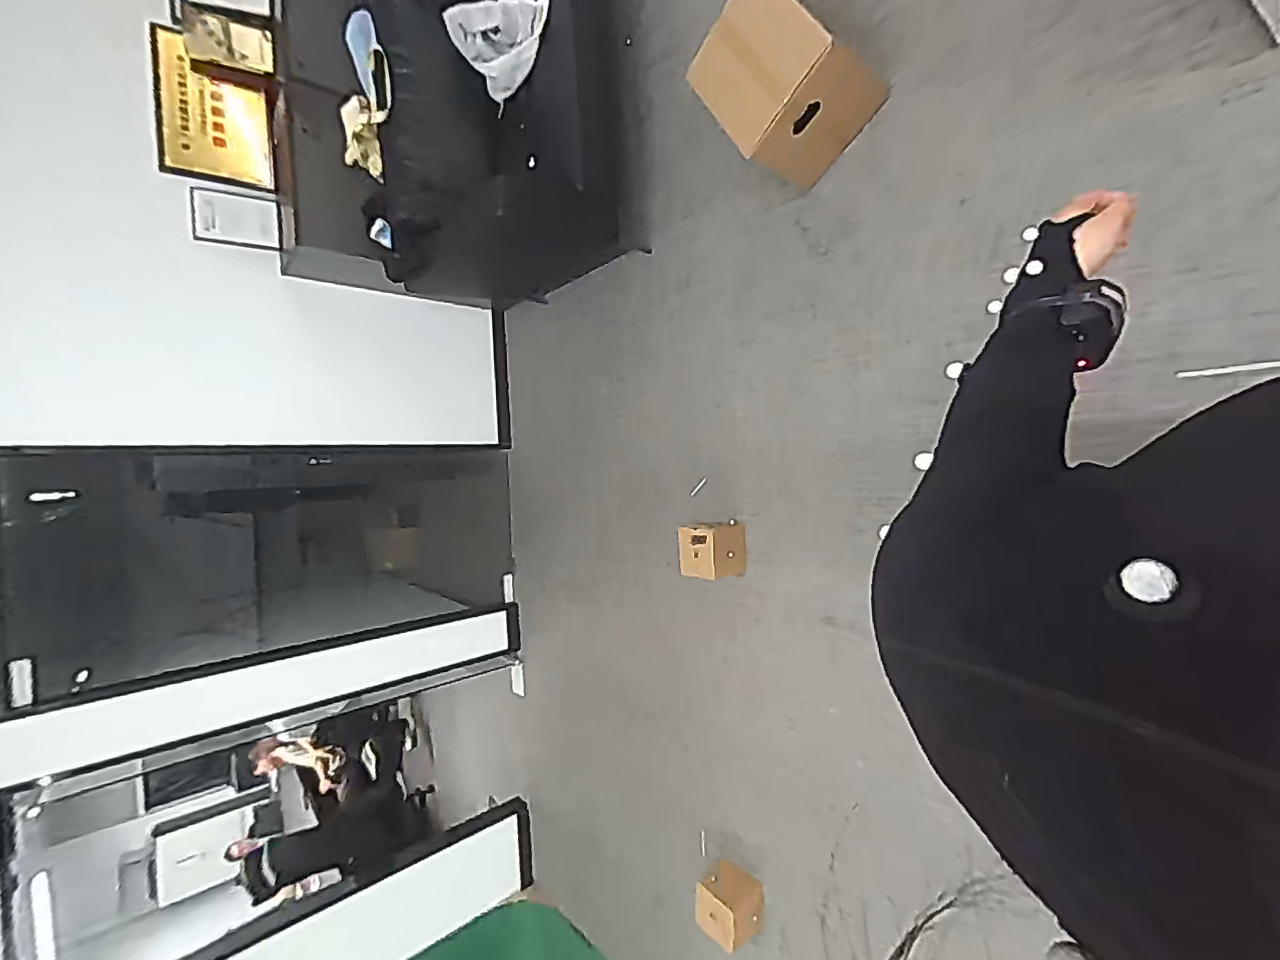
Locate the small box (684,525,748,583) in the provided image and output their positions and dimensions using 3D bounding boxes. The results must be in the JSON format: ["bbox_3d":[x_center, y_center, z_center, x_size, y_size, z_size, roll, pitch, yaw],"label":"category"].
[{"bbox_3d":[0.273,0.258,1.932,0.168,0.176,0.179,0,92,49],"label":"small box"}]

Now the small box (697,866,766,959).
[{"bbox_3d":[0.324,1.528,1.930,0.179,0.176,0.168,7,98,49],"label":"small box"}]
